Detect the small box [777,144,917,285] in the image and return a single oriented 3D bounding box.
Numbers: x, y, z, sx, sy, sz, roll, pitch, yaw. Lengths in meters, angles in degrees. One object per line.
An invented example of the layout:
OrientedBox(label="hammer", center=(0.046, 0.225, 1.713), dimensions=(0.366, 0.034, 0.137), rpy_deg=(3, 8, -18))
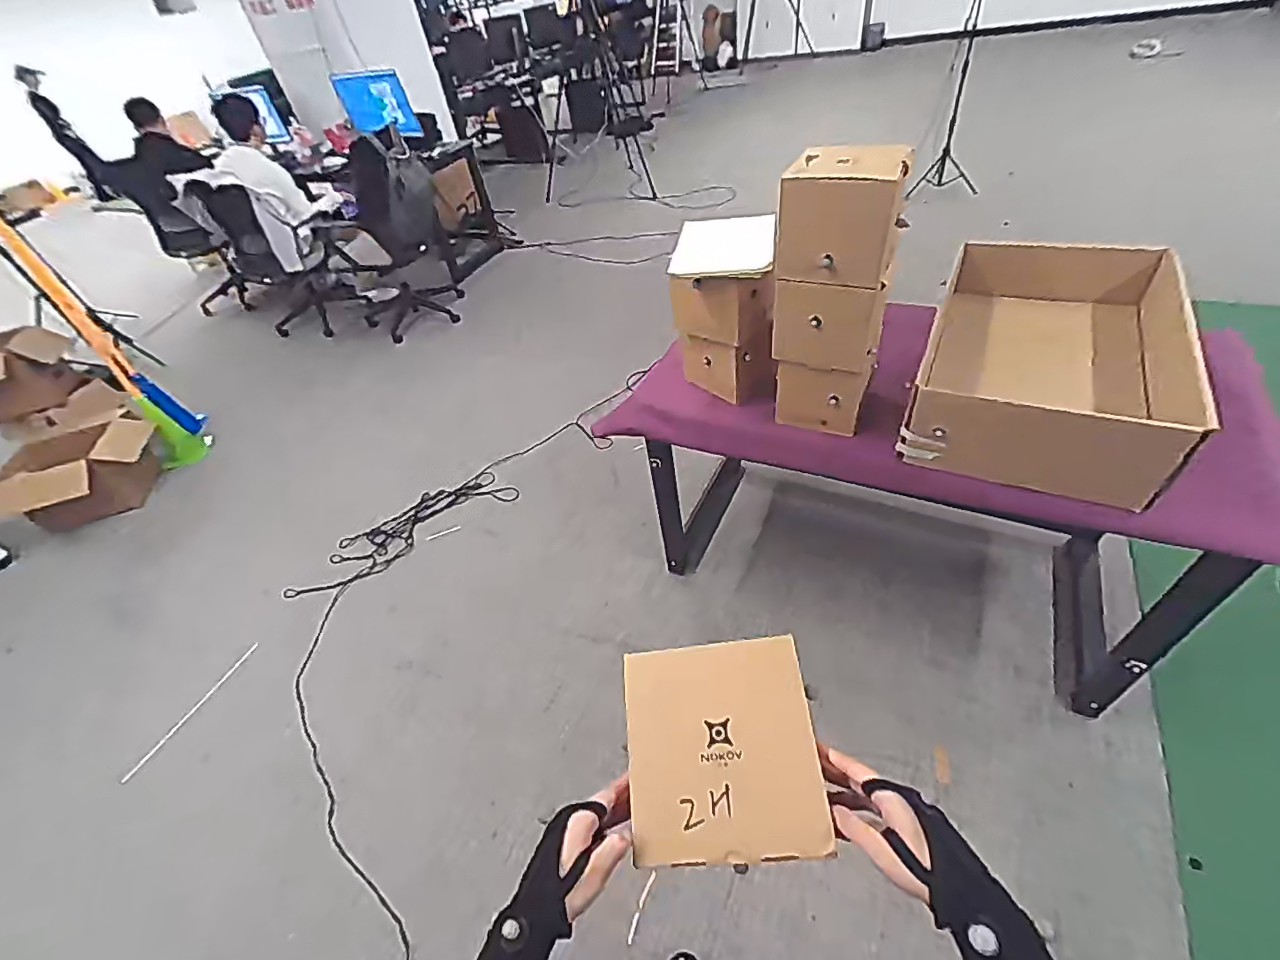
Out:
OrientedBox(label="small box", center=(0.344, -0.449, 0.917), dimensions=(0.179, 0.176, 0.168), rpy_deg=(16, 49, 24))

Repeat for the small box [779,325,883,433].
OrientedBox(label="small box", center=(0.400, -0.222, 1.148), dimensions=(0.168, 0.176, 0.179), rpy_deg=(16, 49, 25))

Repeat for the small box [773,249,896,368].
OrientedBox(label="small box", center=(0.366, -0.332, 1.031), dimensions=(0.179, 0.176, 0.168), rpy_deg=(16, 49, 24))

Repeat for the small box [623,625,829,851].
OrientedBox(label="small box", center=(0.081, 0.262, 0.545), dimensions=(0.168, 0.176, 0.179), rpy_deg=(-9, 59, 9))

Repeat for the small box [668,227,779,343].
OrientedBox(label="small box", center=(0.185, -0.414, 1.154), dimensions=(0.179, 0.176, 0.168), rpy_deg=(26, 56, 33))
